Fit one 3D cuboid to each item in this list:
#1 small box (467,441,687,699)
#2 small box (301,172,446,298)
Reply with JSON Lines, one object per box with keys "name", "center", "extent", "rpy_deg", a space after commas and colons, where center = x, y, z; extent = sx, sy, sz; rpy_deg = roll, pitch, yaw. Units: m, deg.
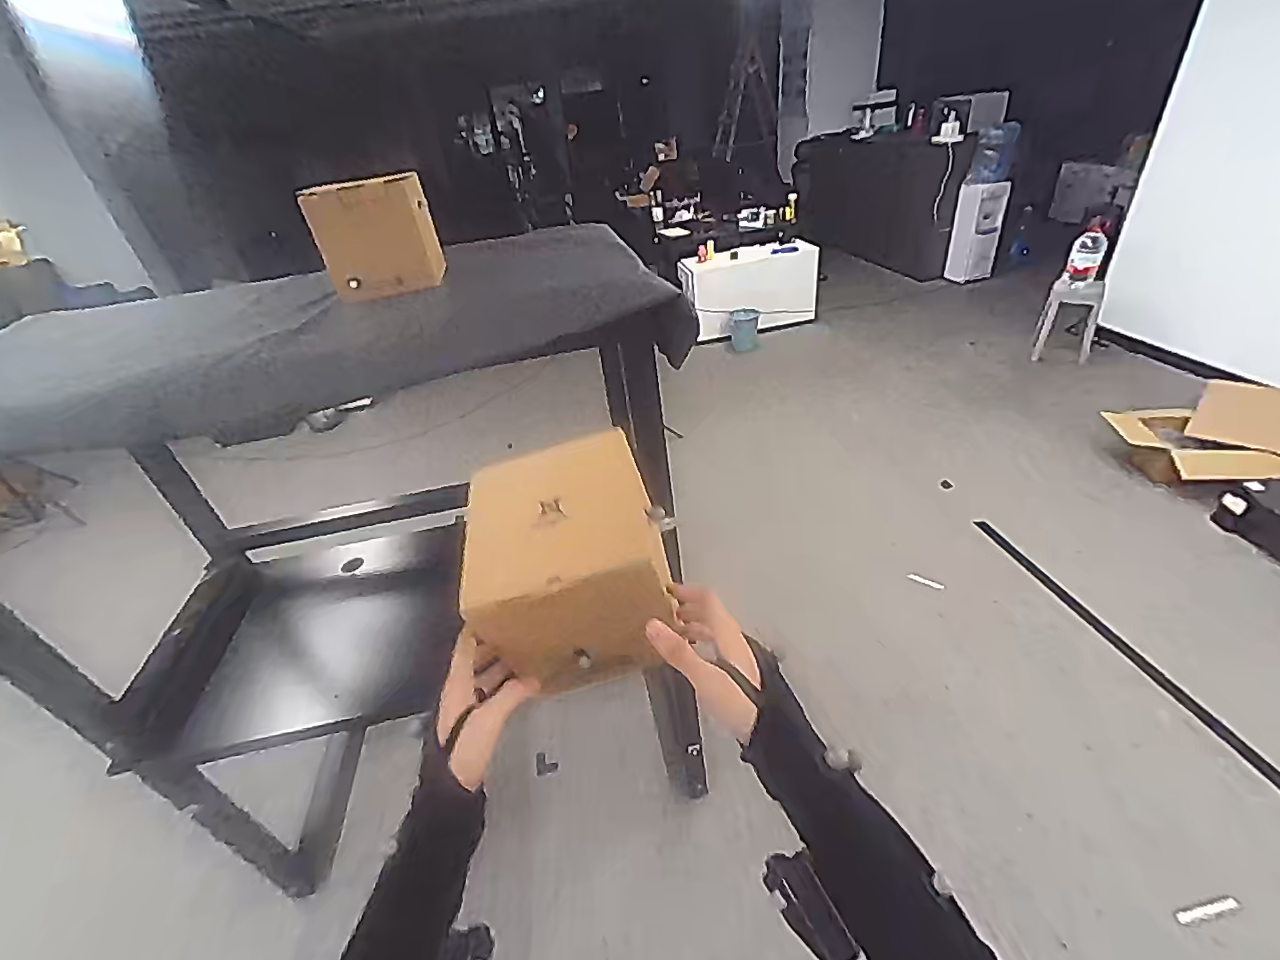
{"name": "small box", "center": [-0.059, 0.093, 0.557], "extent": [0.168, 0.176, 0.179], "rpy_deg": [-17, 44, 3]}
{"name": "small box", "center": [-0.453, -0.432, 0.956], "extent": [0.168, 0.176, 0.179], "rpy_deg": [-13, 34, -7]}
